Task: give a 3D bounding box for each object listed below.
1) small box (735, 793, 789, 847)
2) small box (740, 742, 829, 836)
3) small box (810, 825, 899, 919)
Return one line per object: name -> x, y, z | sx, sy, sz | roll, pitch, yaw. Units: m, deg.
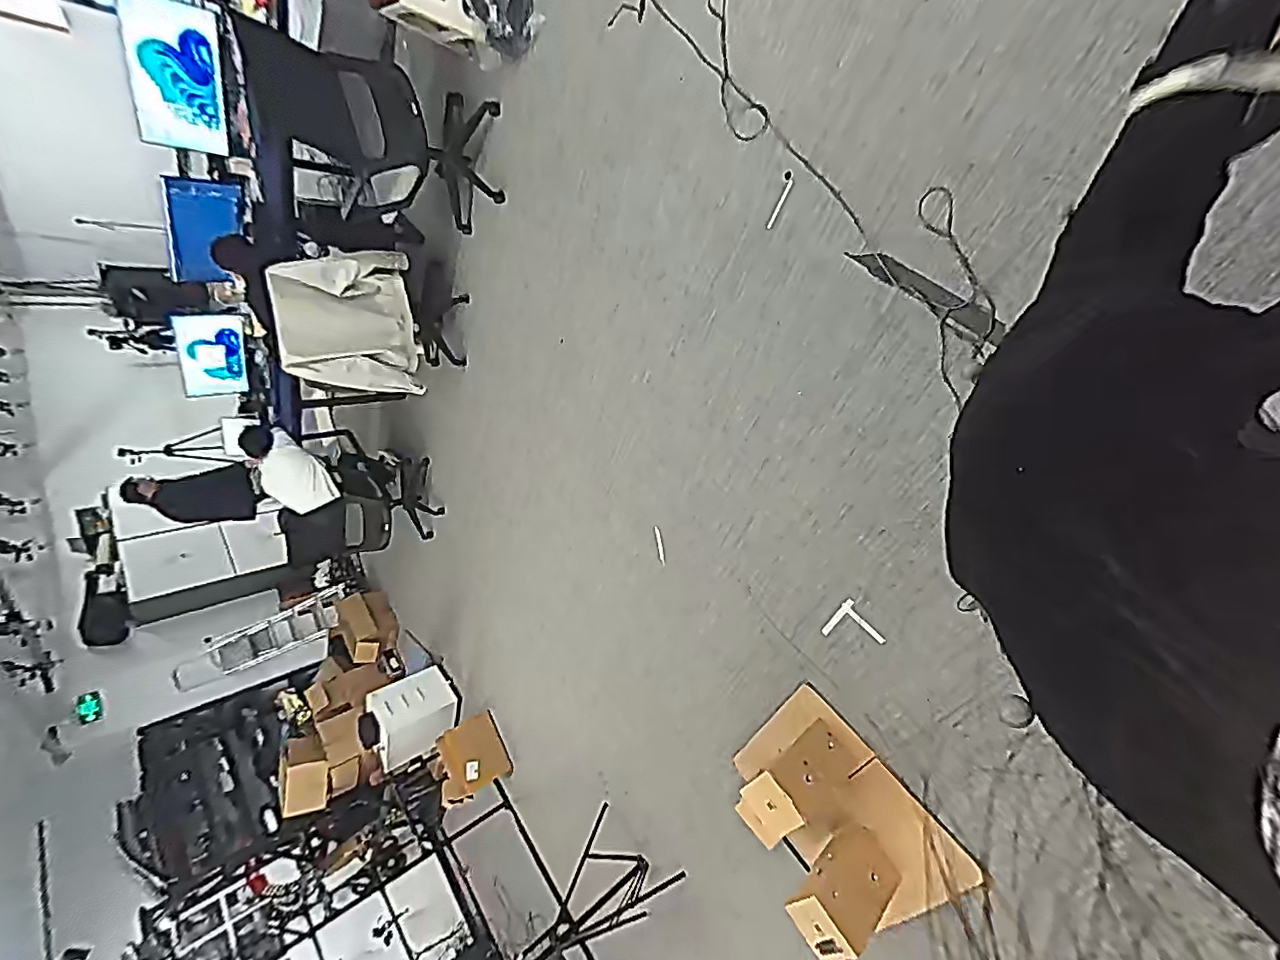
small box -> 0.486, 1.175, 1.971 | 0.179, 0.176, 0.168 | 42, 130, 30
small box -> 0.455, 0.962, 1.692 | 0.168, 0.176, 0.179 | 49, 131, 25
small box -> 0.702, 1.272, 1.760 | 0.179, 0.176, 0.168 | 53, 134, 21
